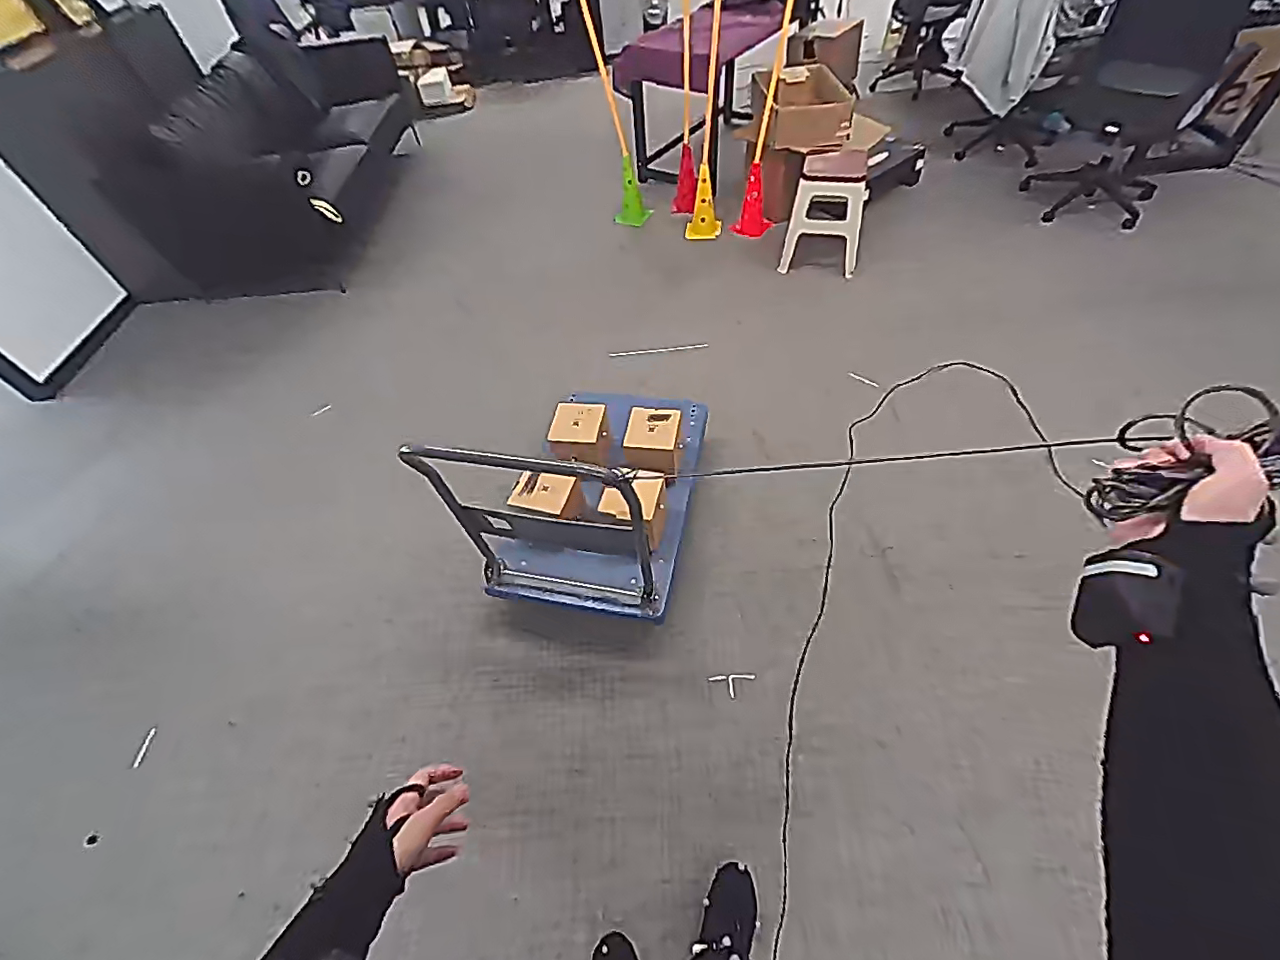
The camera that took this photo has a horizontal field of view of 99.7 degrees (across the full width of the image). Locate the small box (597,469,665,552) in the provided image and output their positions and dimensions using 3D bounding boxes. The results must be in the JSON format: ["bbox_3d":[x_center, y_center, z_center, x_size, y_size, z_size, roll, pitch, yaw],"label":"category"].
[{"bbox_3d":[-0.021,0.095,1.653,0.168,0.176,0.179,8,55,12],"label":"small box"}]

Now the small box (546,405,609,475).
[{"bbox_3d":[-0.206,-0.134,1.848,0.168,0.176,0.179,5,53,9],"label":"small box"}]

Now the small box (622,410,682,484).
[{"bbox_3d":[0.046,-0.110,1.801,0.168,0.176,0.179,5,54,11],"label":"small box"}]
